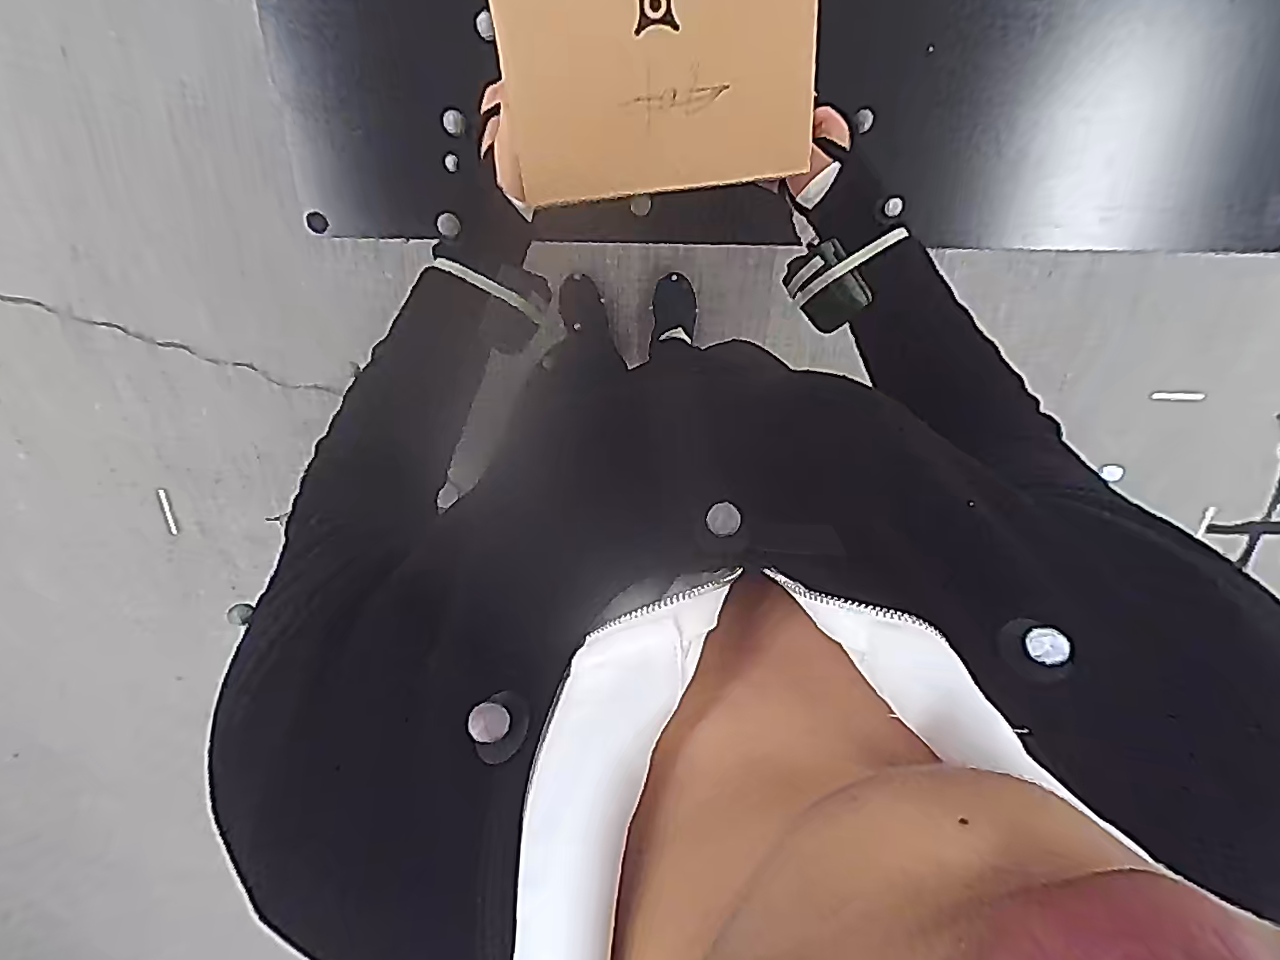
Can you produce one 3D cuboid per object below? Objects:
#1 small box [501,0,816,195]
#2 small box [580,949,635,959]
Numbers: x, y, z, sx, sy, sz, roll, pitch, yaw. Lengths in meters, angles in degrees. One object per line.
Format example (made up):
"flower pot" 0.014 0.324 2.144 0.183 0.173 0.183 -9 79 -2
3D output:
"small box" 0.006 -0.290 0.347 0.168 0.176 0.179 -6 120 2
"small box" -0.100 1.540 1.602 0.179 0.176 0.168 -7 109 1
